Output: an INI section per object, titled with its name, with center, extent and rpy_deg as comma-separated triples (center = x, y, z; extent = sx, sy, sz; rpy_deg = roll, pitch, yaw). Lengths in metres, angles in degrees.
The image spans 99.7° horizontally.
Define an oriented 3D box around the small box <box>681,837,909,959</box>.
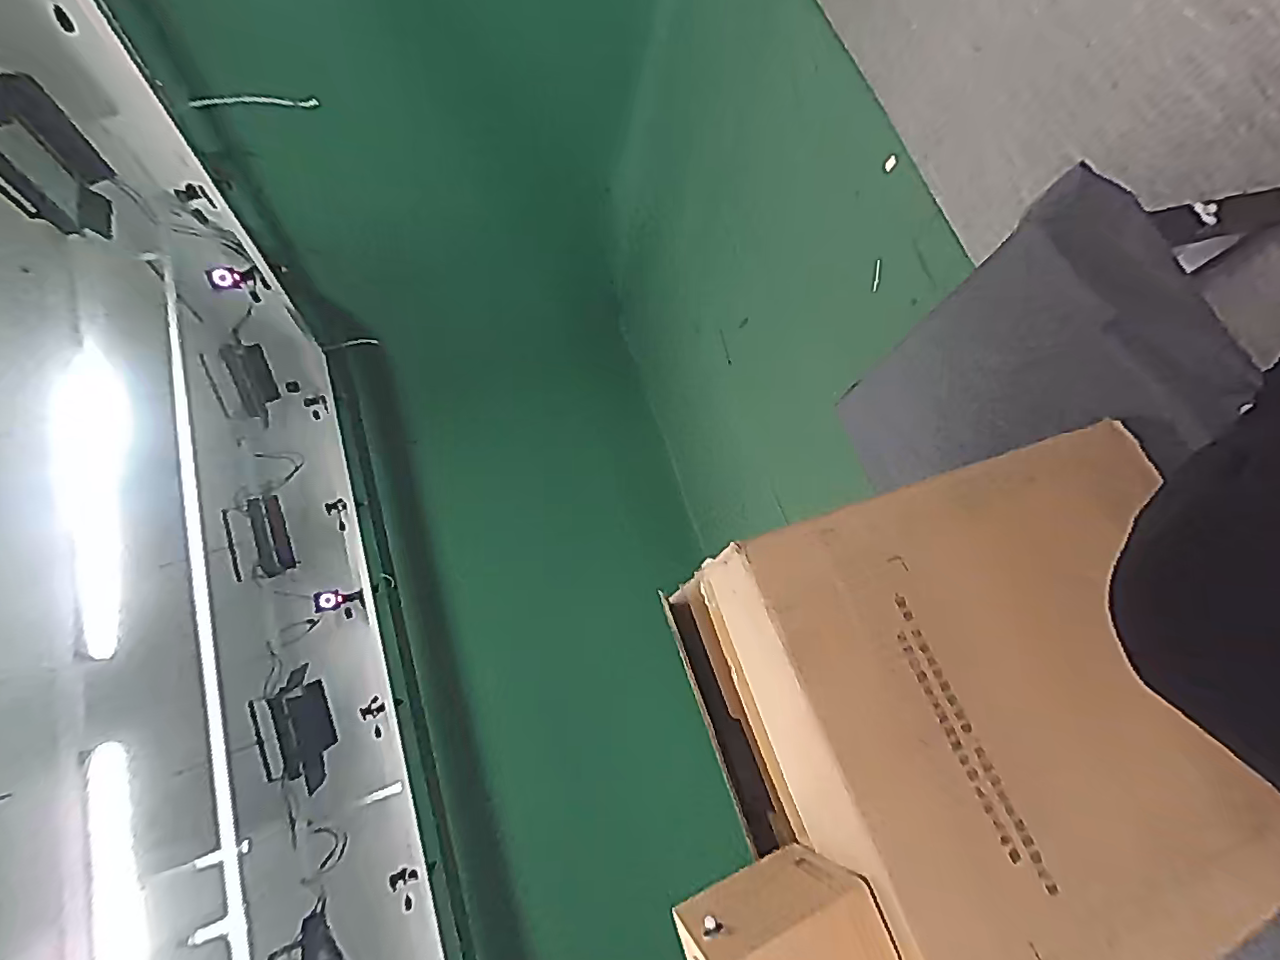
[small box]
center = 0.166, 0.504, 0.540
extent = 0.168, 0.176, 0.179
rpy_deg = 114, 136, -65
